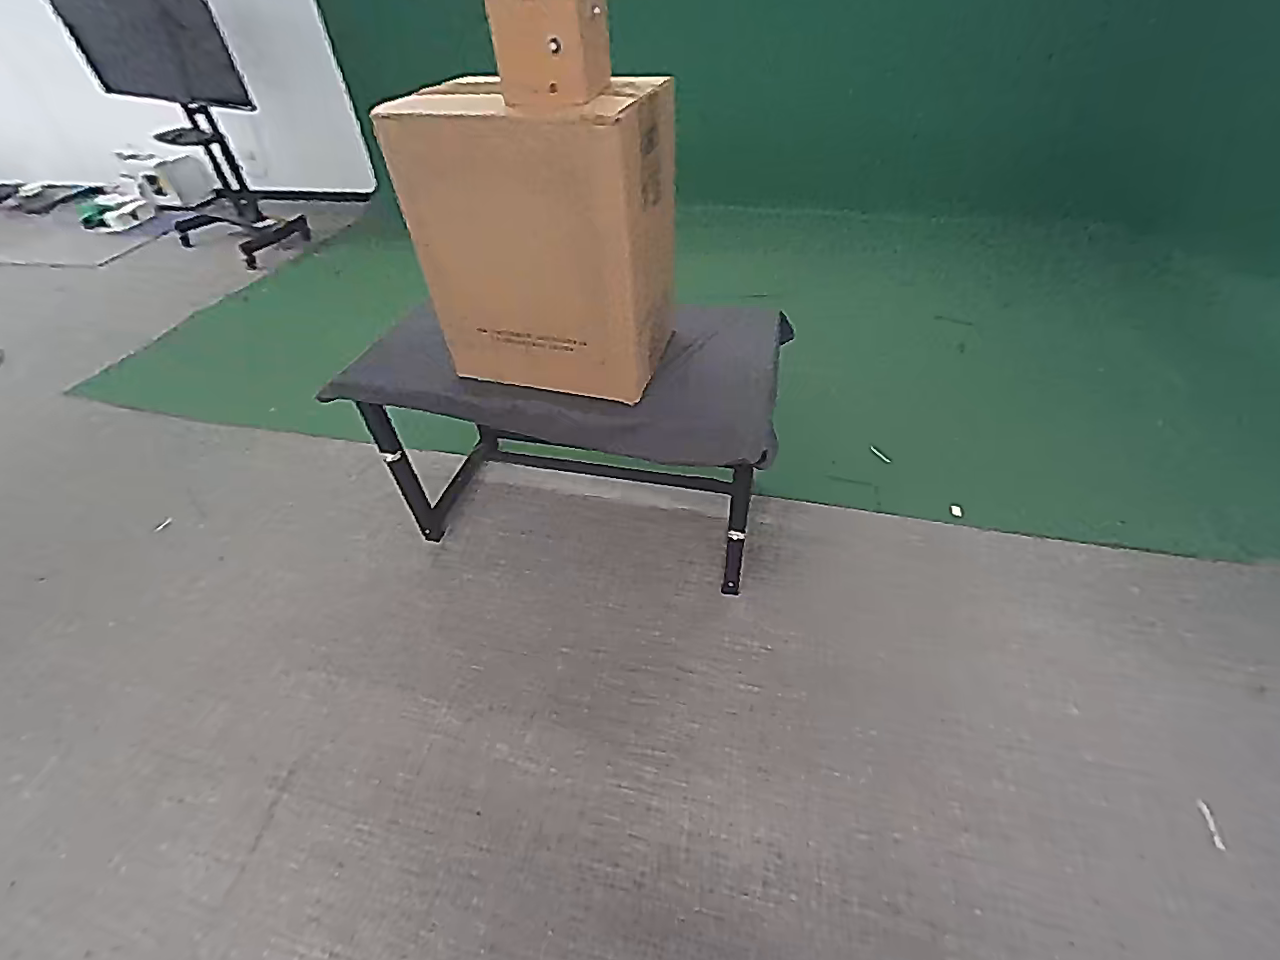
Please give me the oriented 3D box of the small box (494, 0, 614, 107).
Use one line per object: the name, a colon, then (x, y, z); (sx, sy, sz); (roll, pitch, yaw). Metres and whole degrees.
small box: (-0.148, -0.812, 1.005); (0.168, 0.176, 0.179); (10, 47, 9)
